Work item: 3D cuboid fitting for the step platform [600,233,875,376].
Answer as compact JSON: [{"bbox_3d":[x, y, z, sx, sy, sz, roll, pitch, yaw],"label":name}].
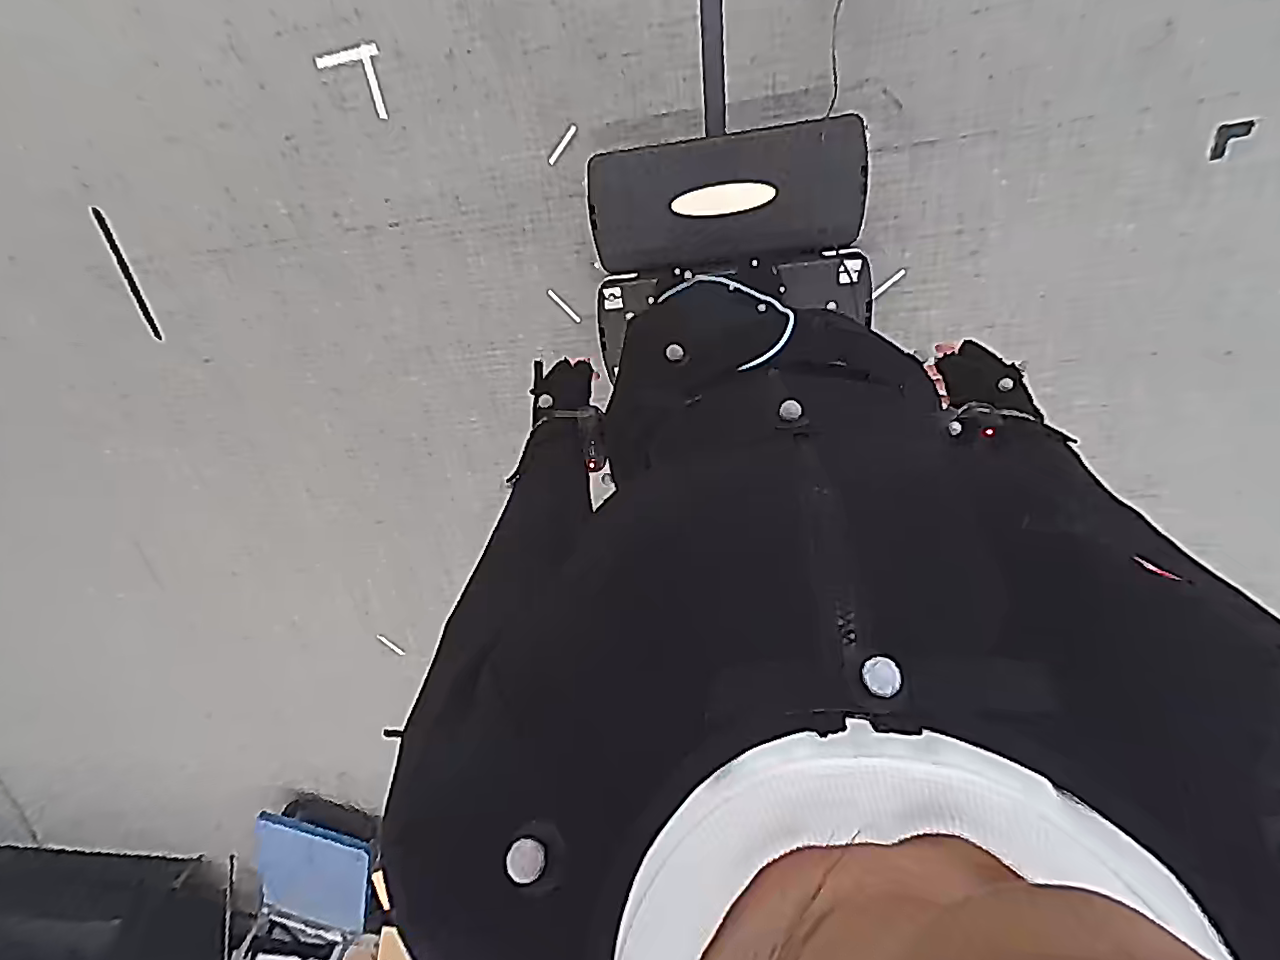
[{"bbox_3d":[0.240,-0.447,1.403,0.684,0.204,0.286,-3,114,11],"label":"step platform"}]
